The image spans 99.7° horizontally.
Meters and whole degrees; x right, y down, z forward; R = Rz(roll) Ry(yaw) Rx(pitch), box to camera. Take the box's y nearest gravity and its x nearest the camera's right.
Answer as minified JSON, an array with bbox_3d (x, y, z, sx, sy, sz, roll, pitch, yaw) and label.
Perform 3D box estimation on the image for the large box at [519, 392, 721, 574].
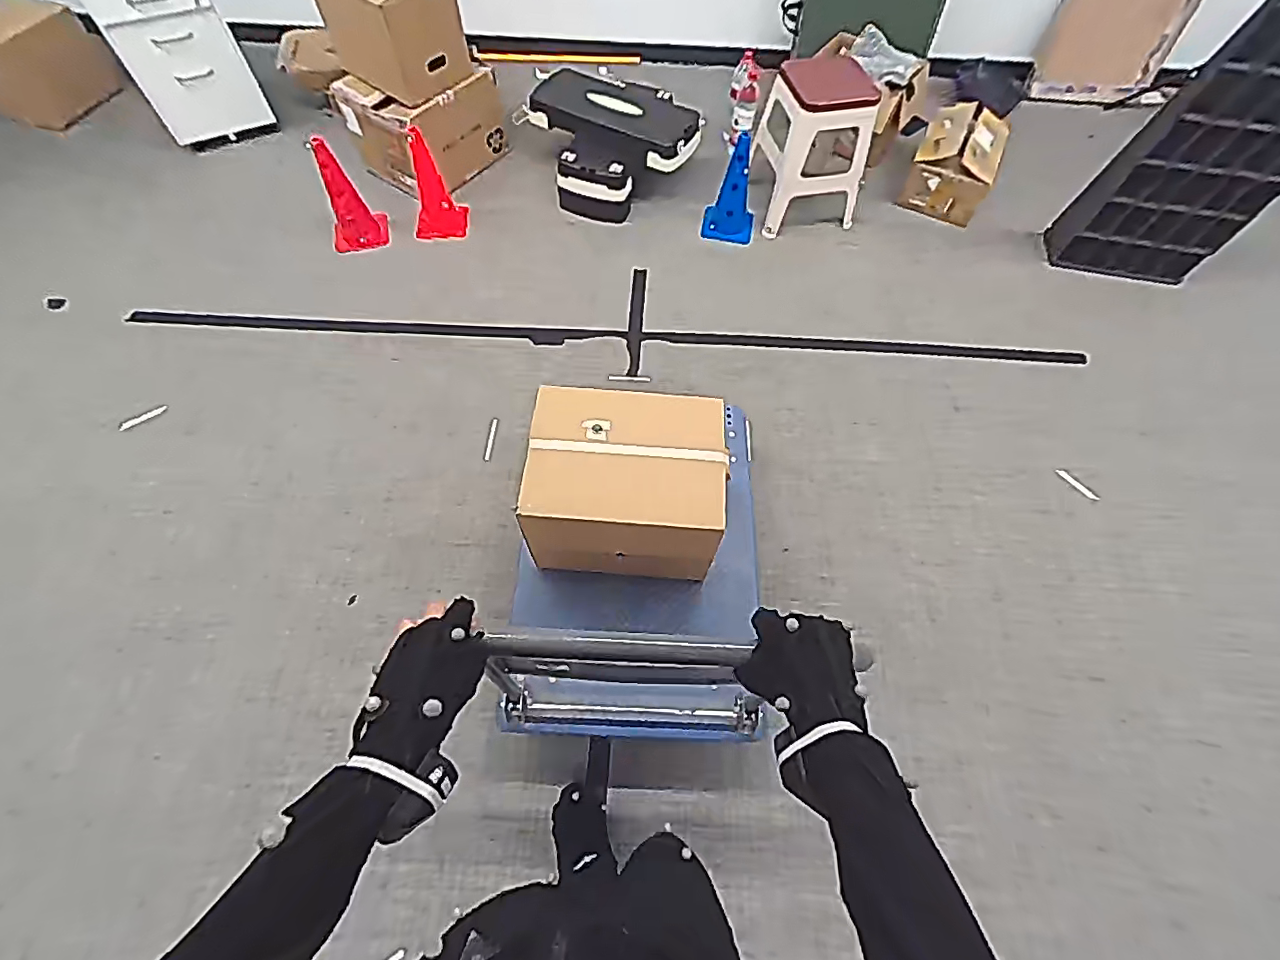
[{"bbox_3d":[-0.032,0.020,1.251,0.408,0.320,0.320,4,62,1],"label":"large box"}]
